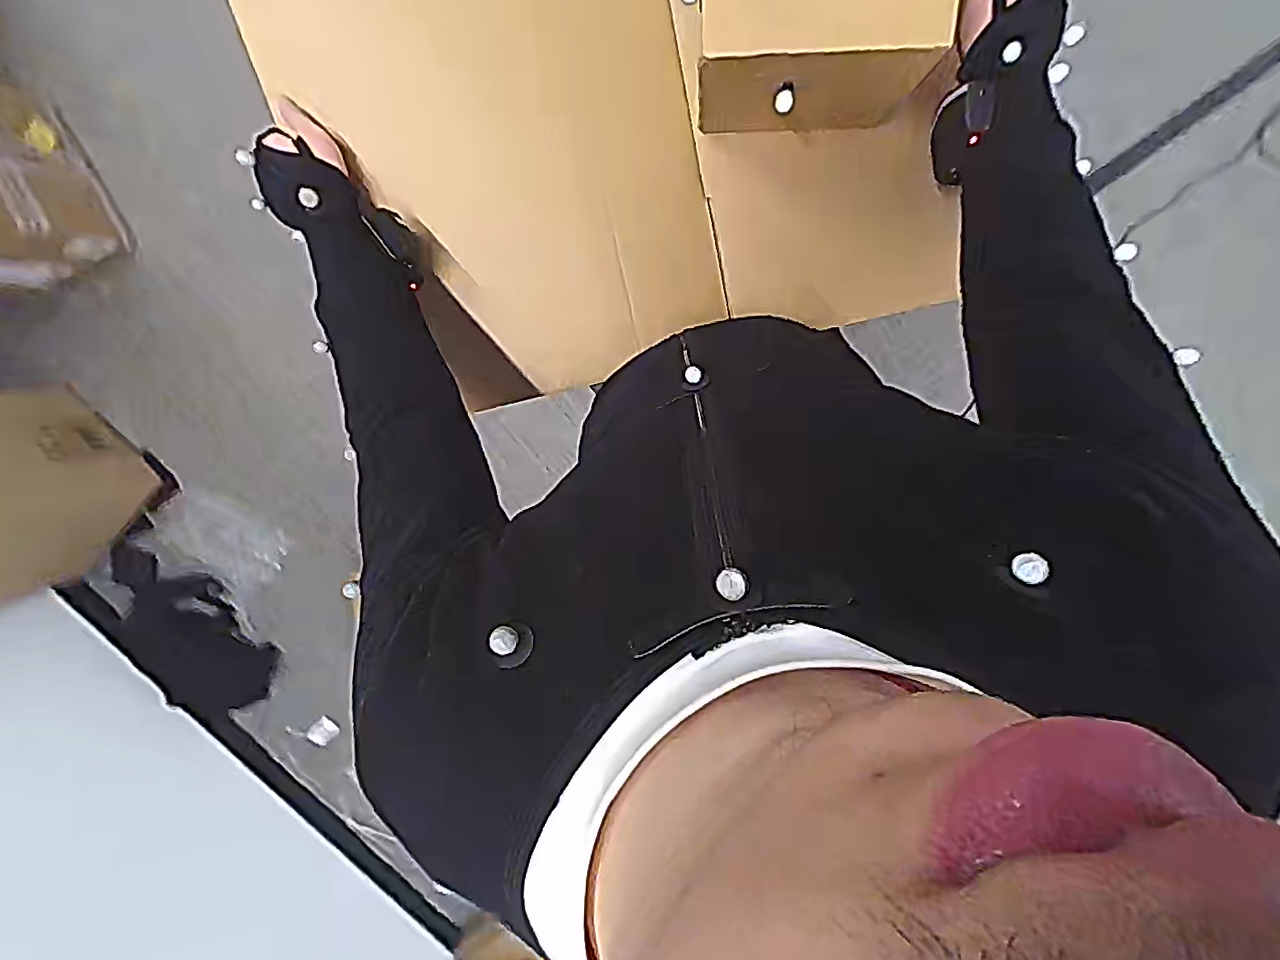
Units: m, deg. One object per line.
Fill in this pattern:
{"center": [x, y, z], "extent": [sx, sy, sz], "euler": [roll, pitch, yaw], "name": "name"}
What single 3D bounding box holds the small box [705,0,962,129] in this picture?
{"center": [0.146, -0.405, 0.440], "extent": [0.179, 0.176, 0.168], "euler": [3, 108, 6], "name": "small box"}
